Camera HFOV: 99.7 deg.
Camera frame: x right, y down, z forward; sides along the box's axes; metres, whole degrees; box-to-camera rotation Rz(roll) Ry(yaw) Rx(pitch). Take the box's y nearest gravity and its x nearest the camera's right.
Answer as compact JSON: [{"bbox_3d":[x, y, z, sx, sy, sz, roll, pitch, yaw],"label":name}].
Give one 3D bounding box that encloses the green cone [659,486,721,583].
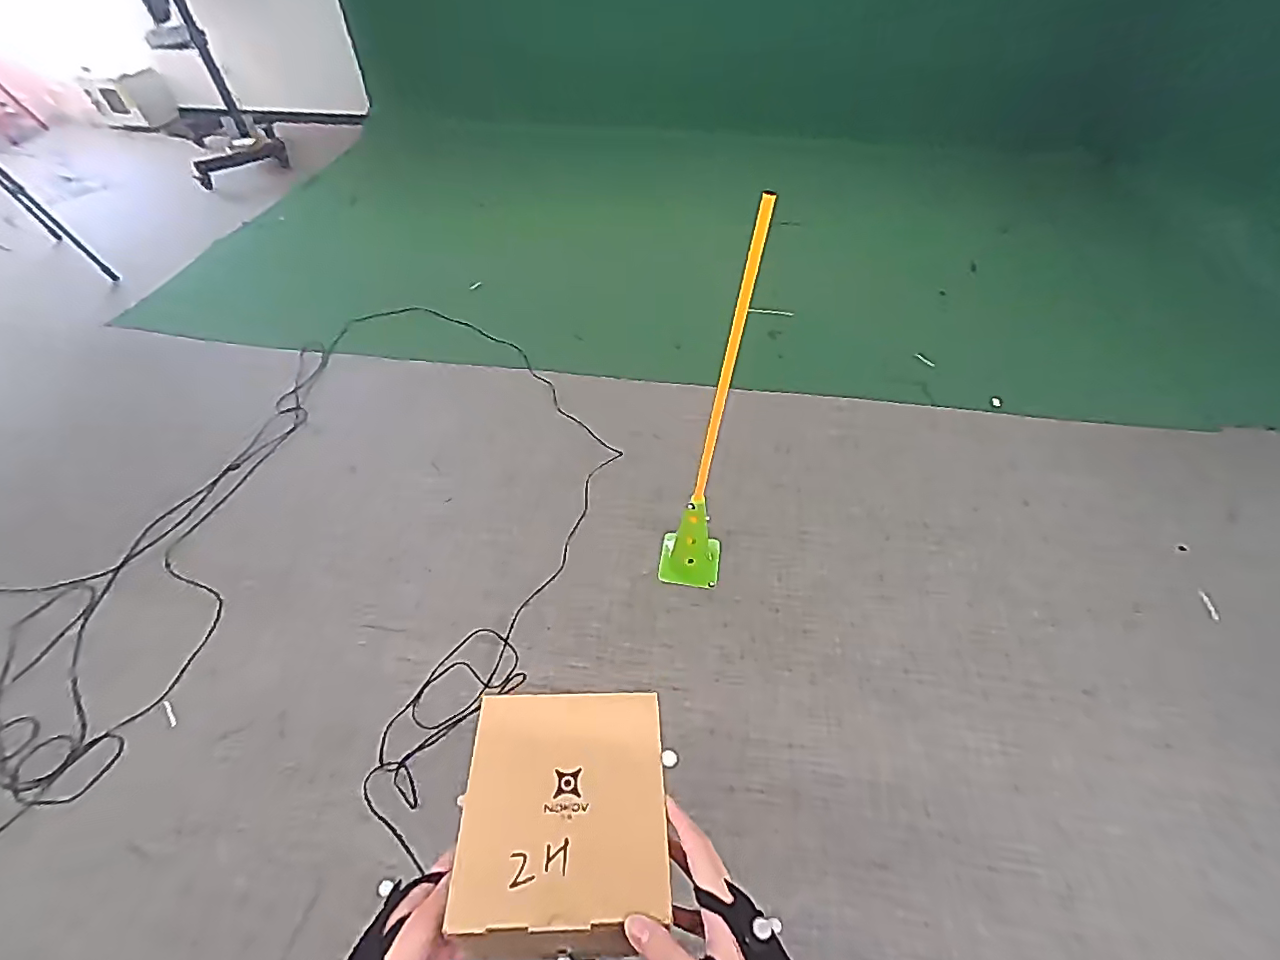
[{"bbox_3d":[0.170,0.146,1.732,0.202,0.368,0.200,7,49,7],"label":"green cone"}]
